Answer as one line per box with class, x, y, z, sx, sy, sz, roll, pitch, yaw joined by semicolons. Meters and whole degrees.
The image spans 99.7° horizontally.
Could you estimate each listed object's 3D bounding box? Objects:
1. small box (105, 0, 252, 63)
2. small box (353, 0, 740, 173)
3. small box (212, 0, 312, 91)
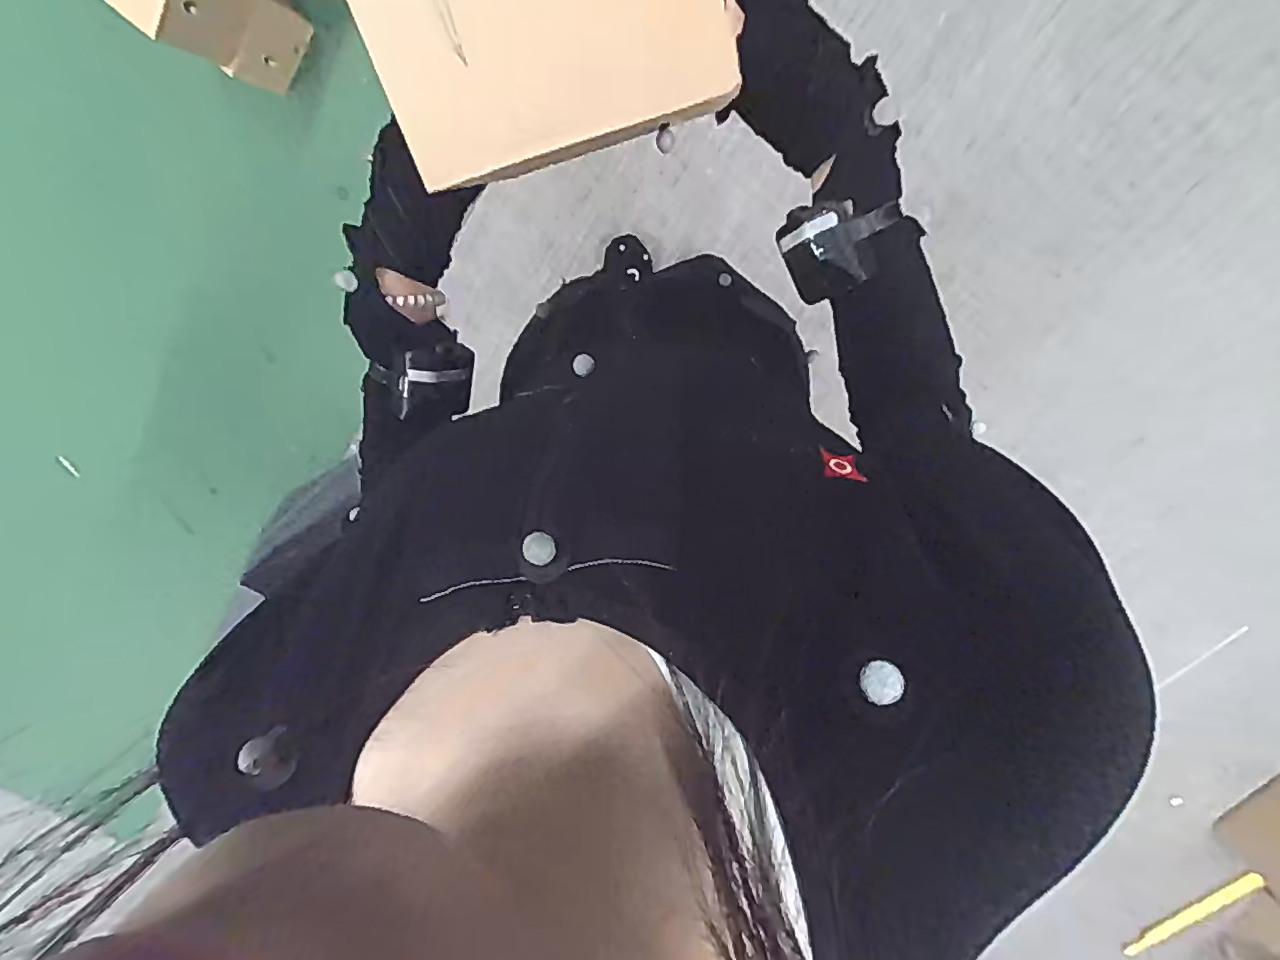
small box;-0.838;-0.896;0.958;0.168;0.176;0.179;38;110;-12
small box;-0.050;-0.290;0.306;0.179;0.176;0.168;-11;119;10
small box;-0.826;-0.948;1.115;0.179;0.176;0.168;39;110;-12
